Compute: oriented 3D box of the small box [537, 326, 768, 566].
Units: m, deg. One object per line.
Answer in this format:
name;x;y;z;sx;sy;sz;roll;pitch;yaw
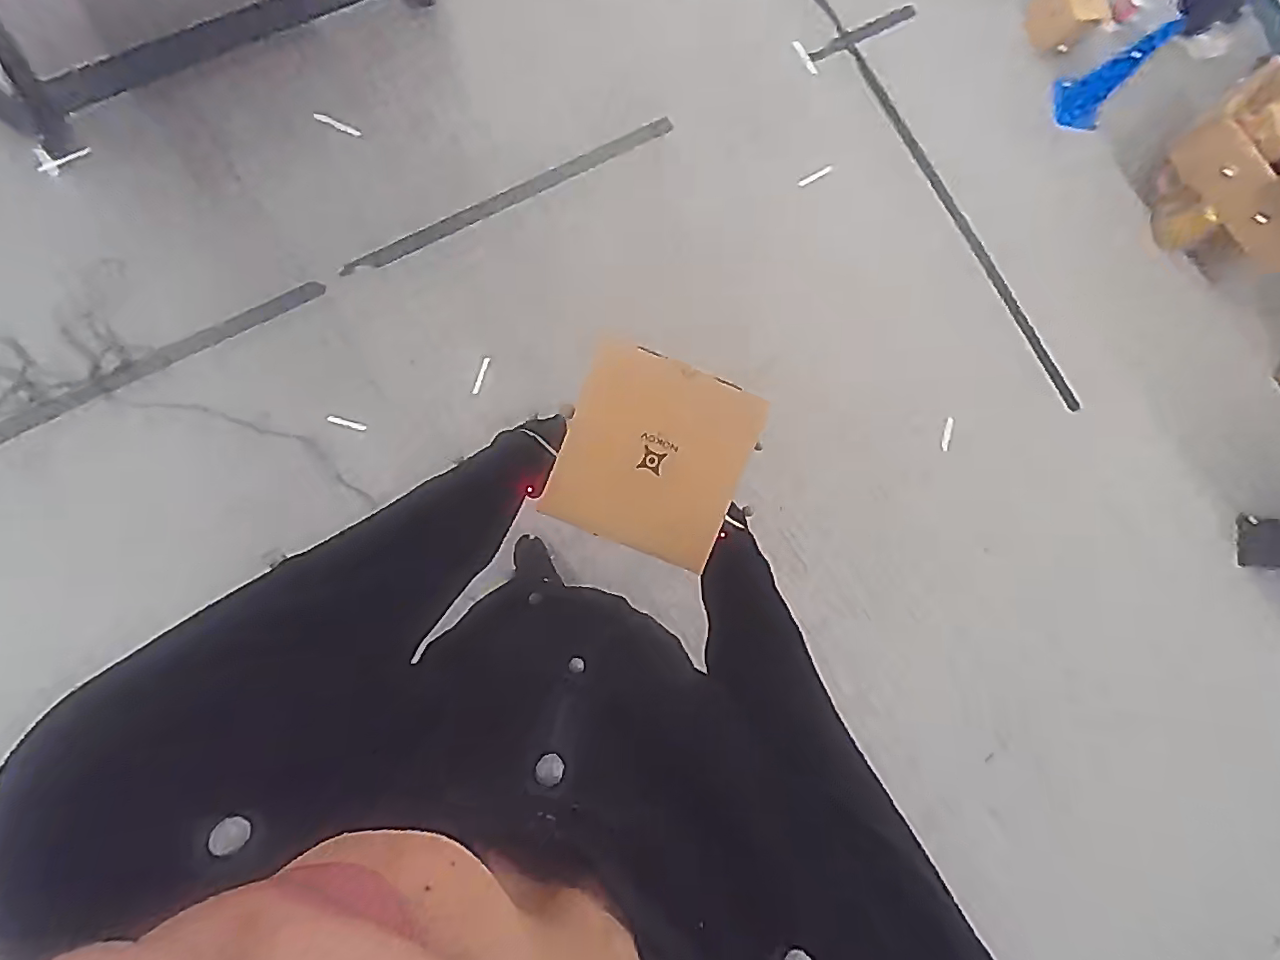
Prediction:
small box;0.011;-0.035;0.567;0.168;0.176;0.179;21;94;-2
